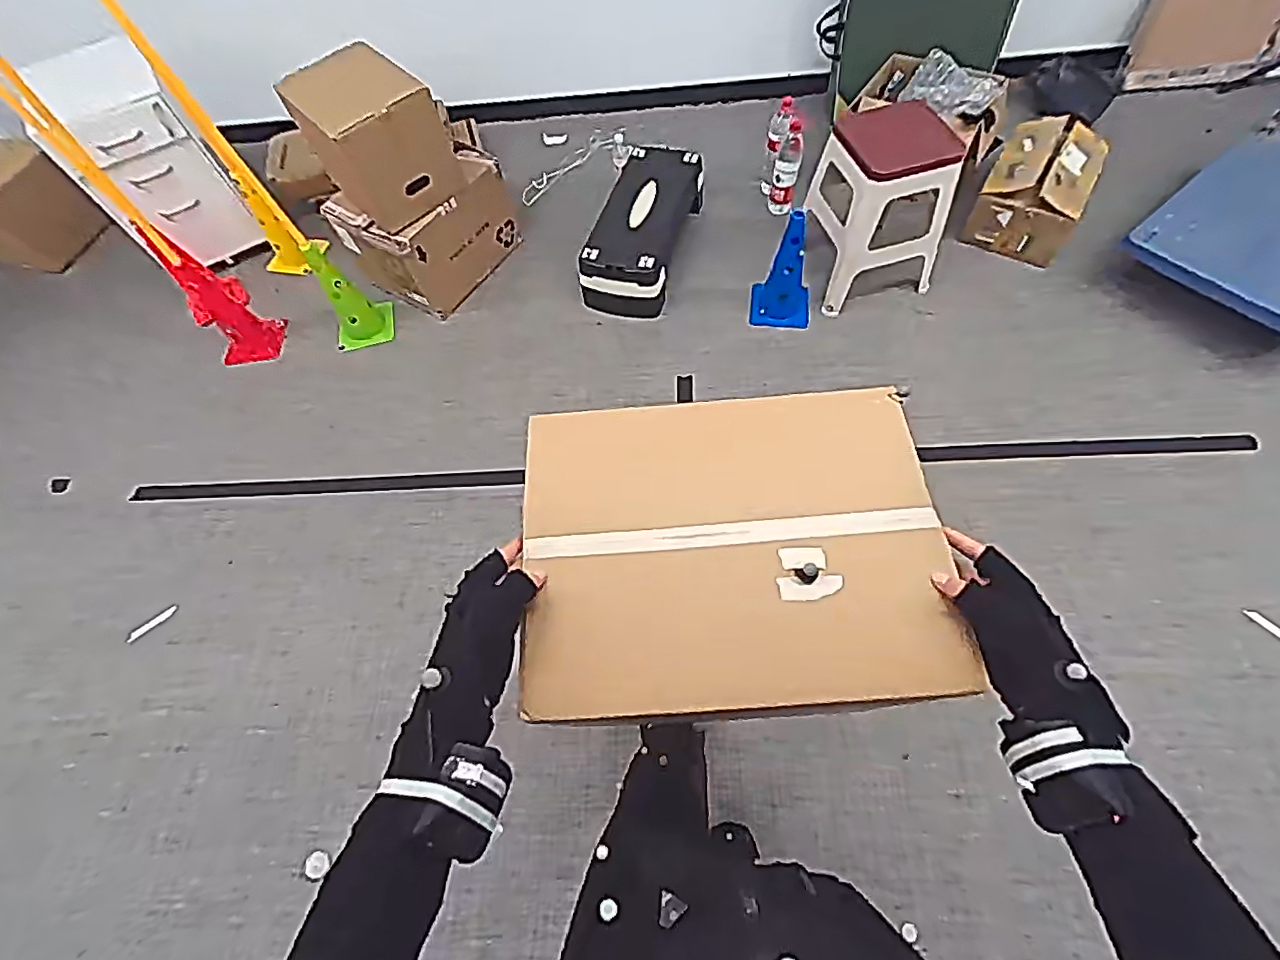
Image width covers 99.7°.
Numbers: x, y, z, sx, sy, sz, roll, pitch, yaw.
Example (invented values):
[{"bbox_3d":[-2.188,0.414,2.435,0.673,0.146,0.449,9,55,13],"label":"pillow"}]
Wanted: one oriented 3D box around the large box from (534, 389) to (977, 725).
[{"bbox_3d":[0.096,0.117,0.675,0.408,0.320,0.320,-4,65,1],"label":"large box"}]
